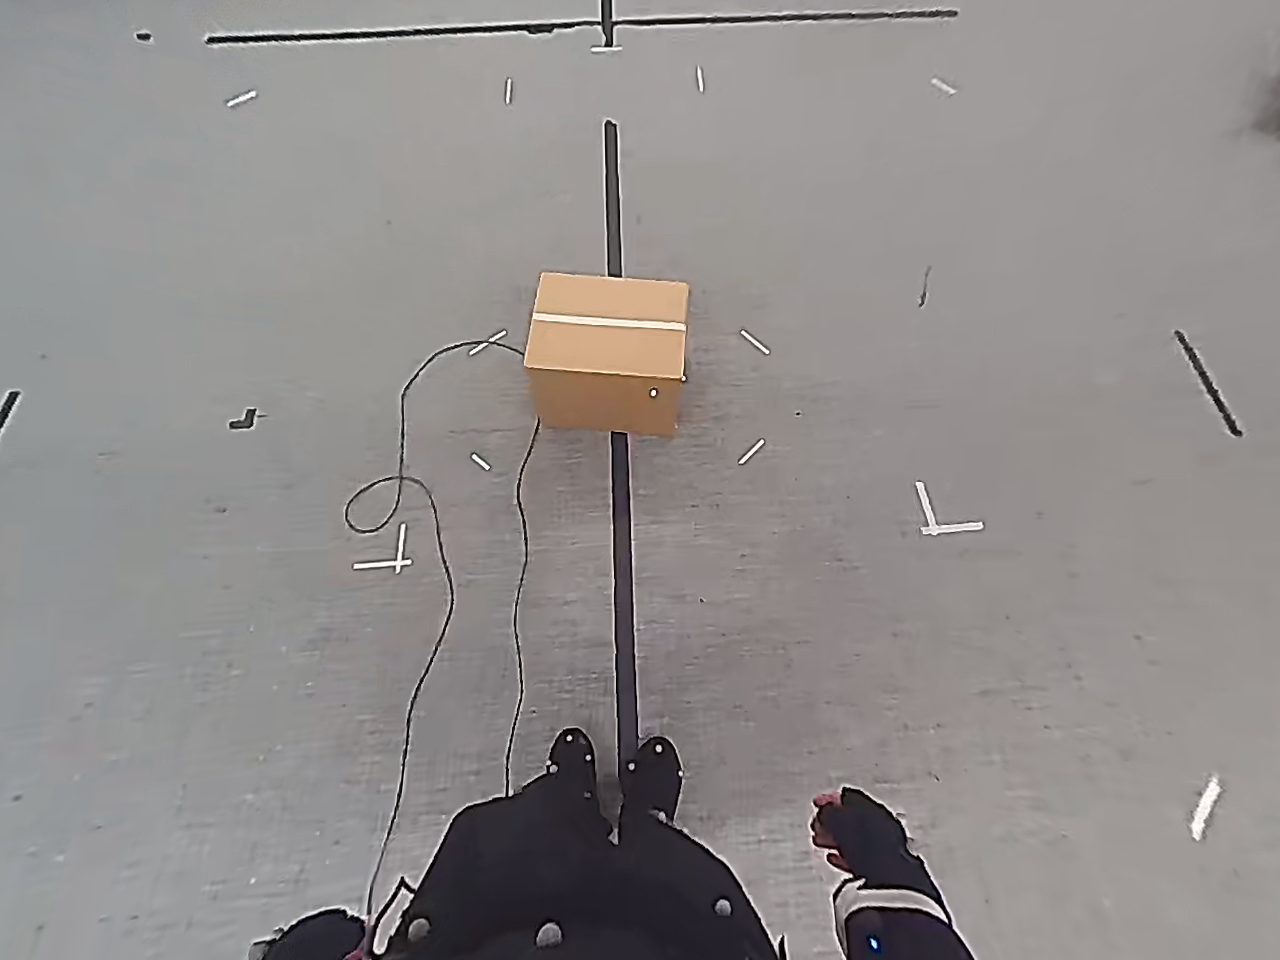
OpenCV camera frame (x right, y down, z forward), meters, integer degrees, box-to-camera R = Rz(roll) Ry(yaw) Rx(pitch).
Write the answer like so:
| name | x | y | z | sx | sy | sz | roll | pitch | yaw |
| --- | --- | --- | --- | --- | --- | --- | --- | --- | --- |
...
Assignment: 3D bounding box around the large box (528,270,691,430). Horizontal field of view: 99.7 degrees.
| name | x | y | z | sx | sy | sz | roll | pitch | yaw |
| --- | --- | --- | --- | --- | --- | --- | --- | --- | --- |
| large box | -0.072 | -0.355 | 1.537 | 0.408 | 0.320 | 0.320 | 5 | 67 | 1 |
